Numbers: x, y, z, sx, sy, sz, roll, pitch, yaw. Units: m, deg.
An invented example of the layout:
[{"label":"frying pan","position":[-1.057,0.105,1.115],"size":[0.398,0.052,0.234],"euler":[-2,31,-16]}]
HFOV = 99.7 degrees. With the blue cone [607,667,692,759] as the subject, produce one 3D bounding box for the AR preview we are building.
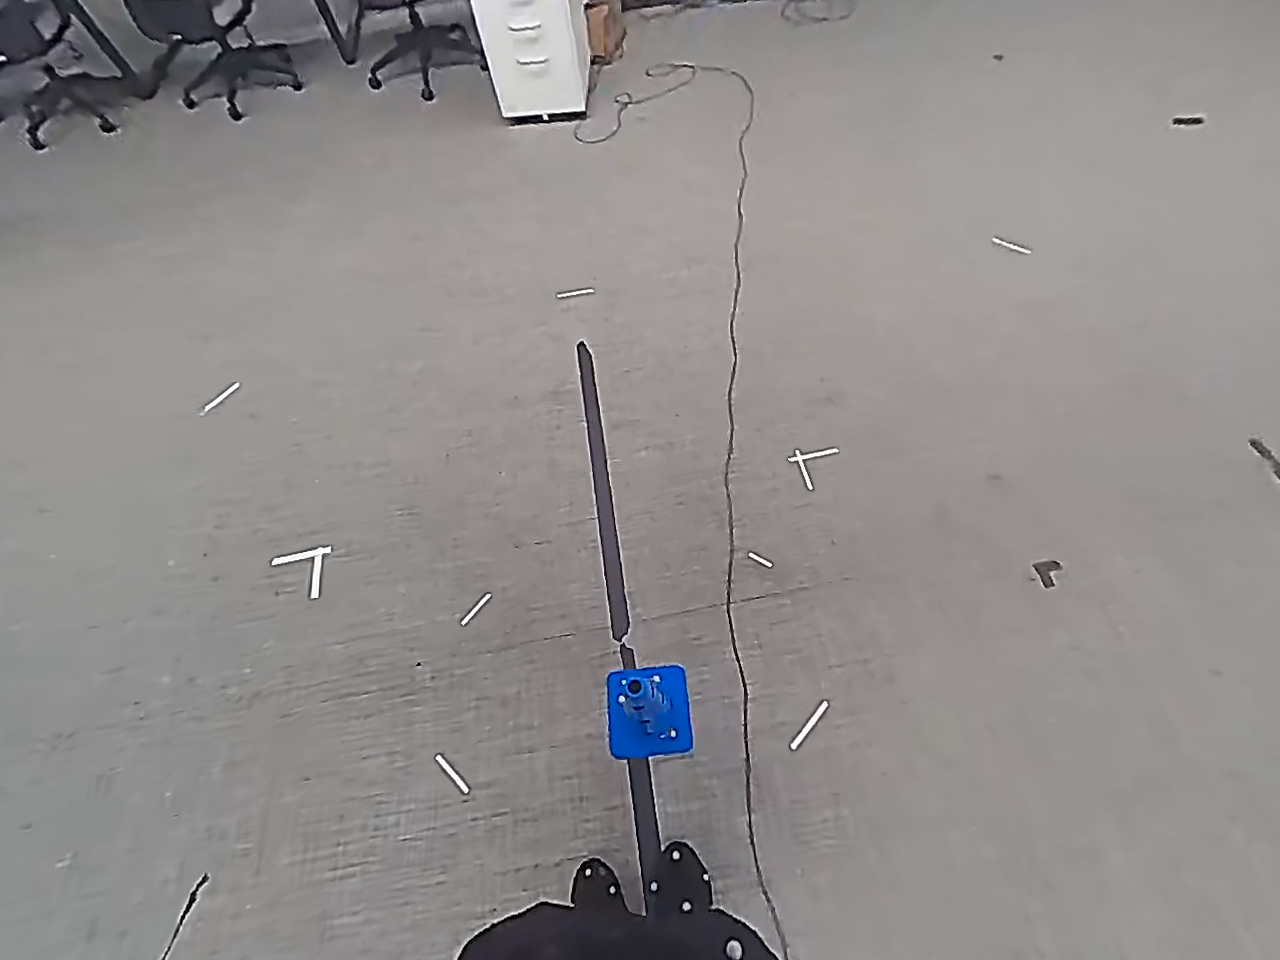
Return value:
[{"label":"blue cone","position":[0.007,0.472,1.154],"size":[0.193,0.380,0.192],"euler":[-7,60,0]}]
